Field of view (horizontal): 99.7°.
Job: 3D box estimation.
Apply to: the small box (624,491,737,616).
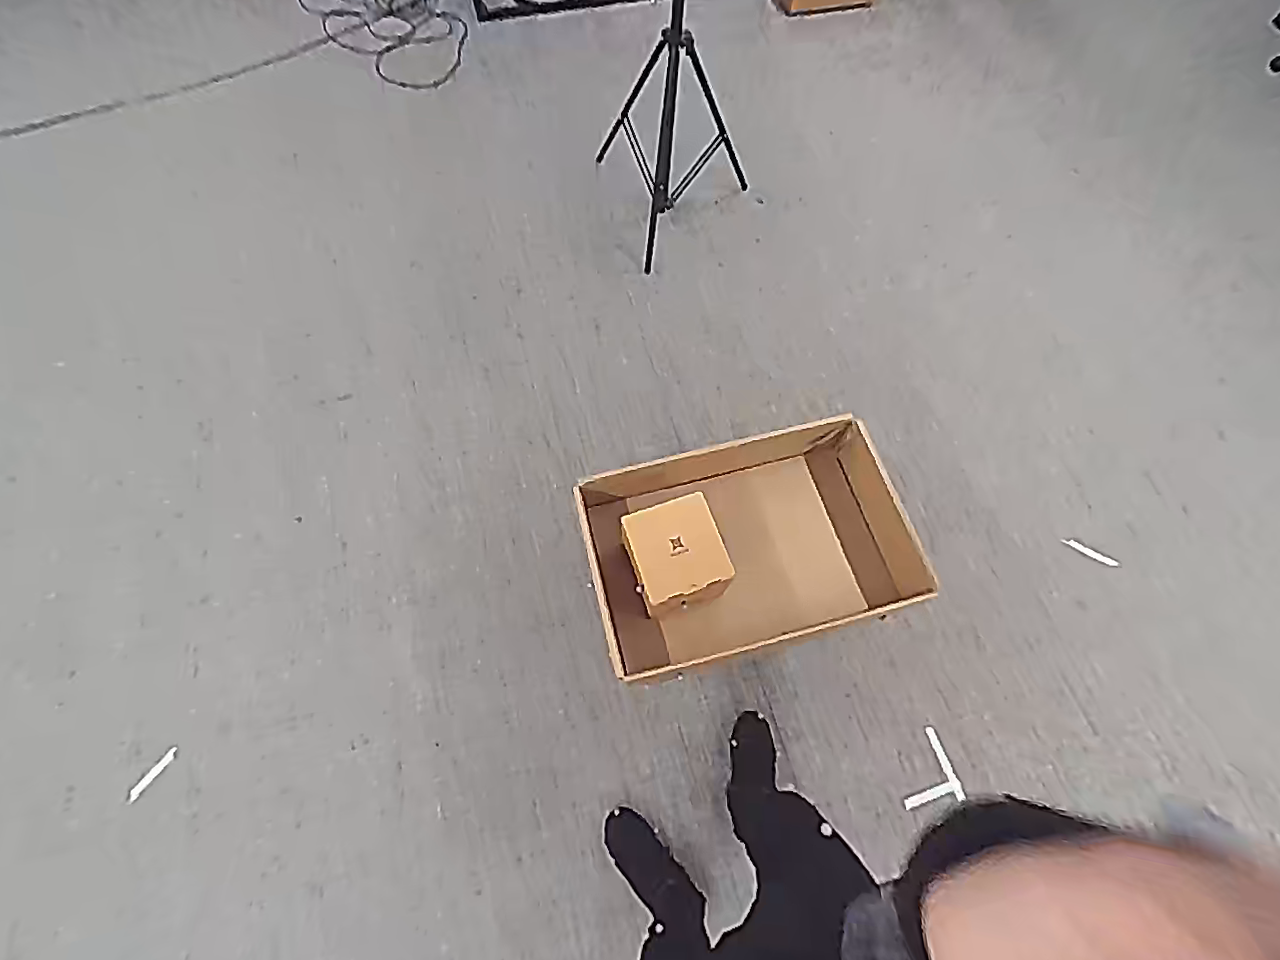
[{"bbox_3d":[0.070,0.149,1.065,0.168,0.176,0.179,-18,69,-8],"label":"small box"}]
